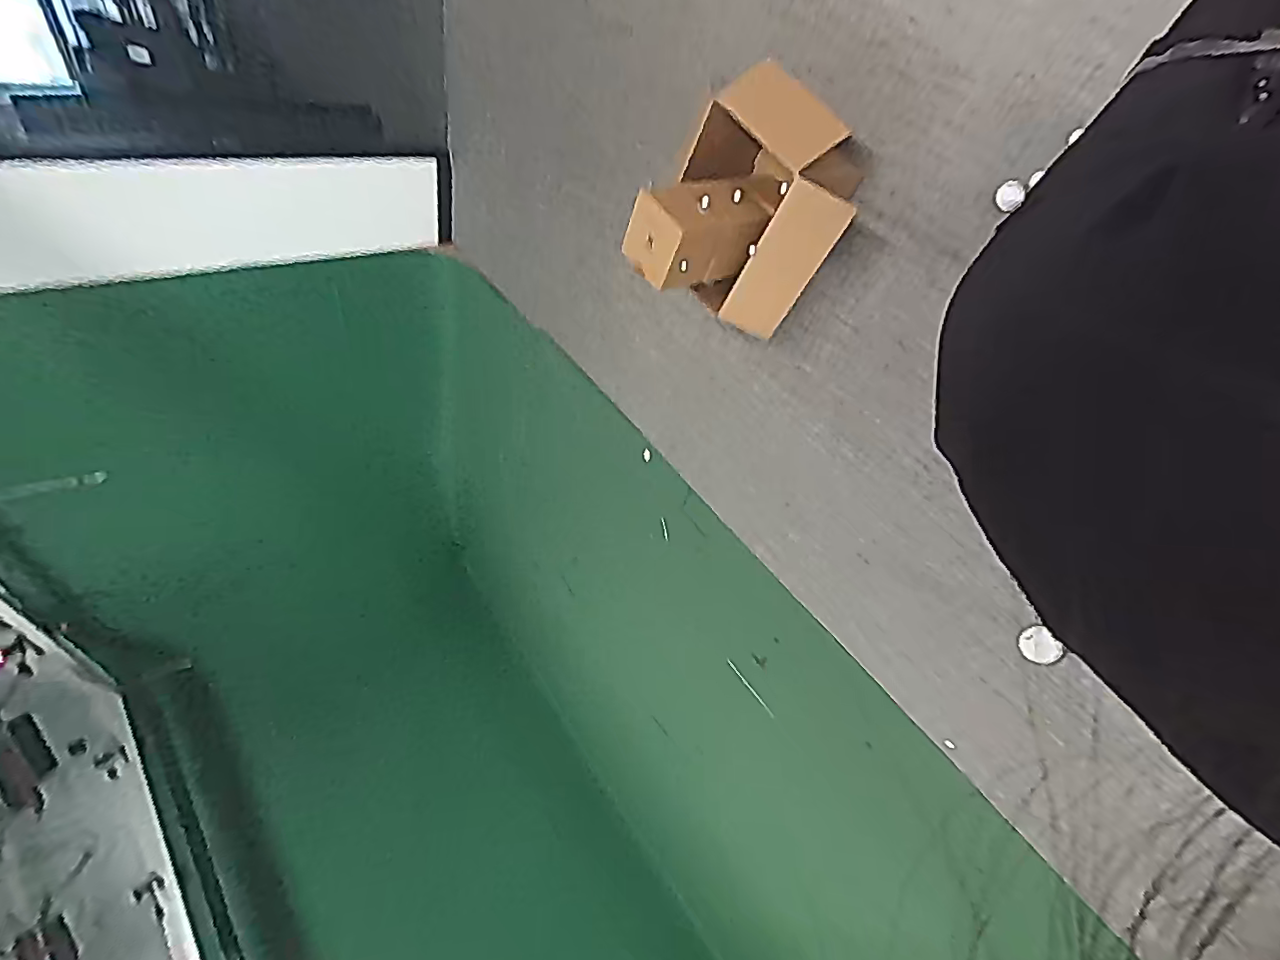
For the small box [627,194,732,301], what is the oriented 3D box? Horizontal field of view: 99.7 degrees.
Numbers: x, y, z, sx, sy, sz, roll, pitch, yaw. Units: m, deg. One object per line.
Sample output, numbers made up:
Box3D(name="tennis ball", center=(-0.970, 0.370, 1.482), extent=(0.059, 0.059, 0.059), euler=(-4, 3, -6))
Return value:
Box3D(name="small box", center=(0.099, -0.582, 1.348), extent=(0.168, 0.176, 0.179), euler=(51, 145, 17))
